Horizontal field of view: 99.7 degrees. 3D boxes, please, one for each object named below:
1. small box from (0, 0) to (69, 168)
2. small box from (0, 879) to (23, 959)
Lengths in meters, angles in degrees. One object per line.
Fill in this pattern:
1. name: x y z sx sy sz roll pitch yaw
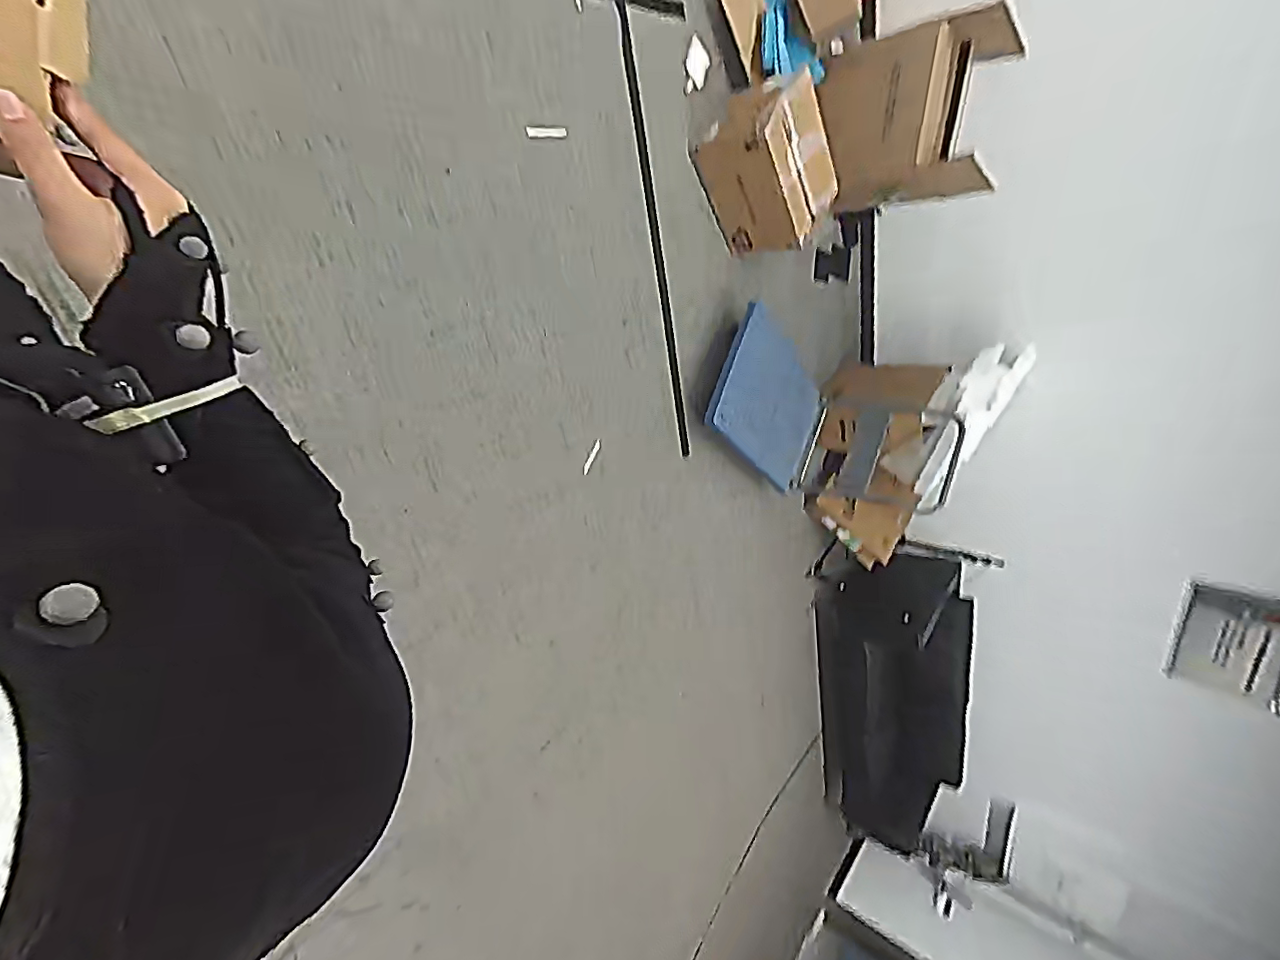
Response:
1. small box: -0.412 -0.275 0.263 0.179 0.176 0.168 -3 104 -47
2. small box: -1.110 0.722 0.832 0.168 0.176 0.179 -35 123 -39
